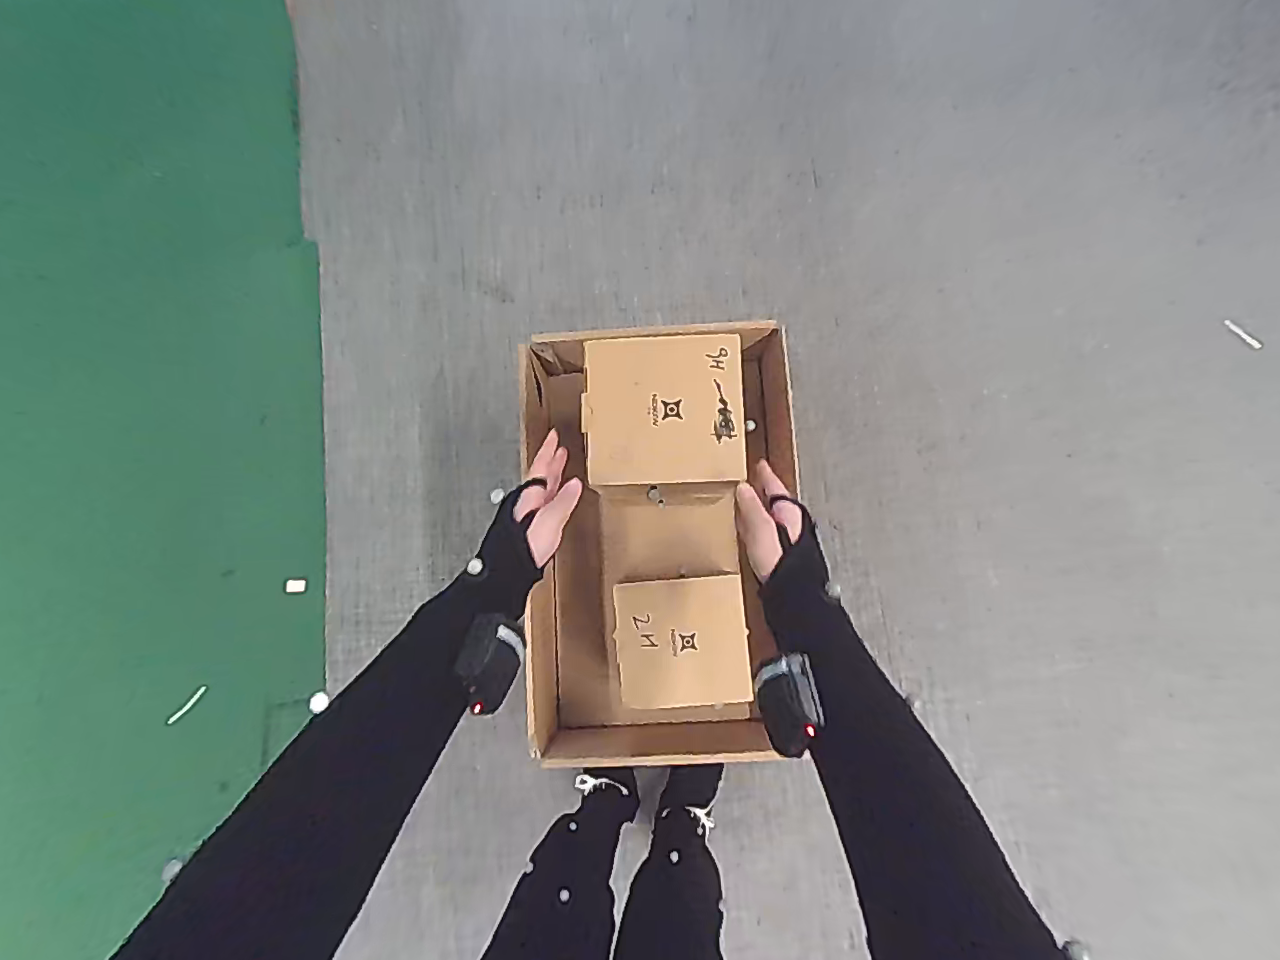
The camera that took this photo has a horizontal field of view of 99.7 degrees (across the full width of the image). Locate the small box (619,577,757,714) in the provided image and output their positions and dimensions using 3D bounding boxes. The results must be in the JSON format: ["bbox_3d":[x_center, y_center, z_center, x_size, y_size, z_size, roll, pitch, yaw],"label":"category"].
[{"bbox_3d":[0.063,0.231,0.791,0.179,0.176,0.168,-4,81,1],"label":"small box"}]

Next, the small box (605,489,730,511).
[{"bbox_3d":[0.041,-0.039,0.834,0.179,0.176,0.168,0,83,1],"label":"small box"}]

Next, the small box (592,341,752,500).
[{"bbox_3d":[0.039,-0.063,0.672,0.179,0.176,0.168,-1,84,2],"label":"small box"}]
